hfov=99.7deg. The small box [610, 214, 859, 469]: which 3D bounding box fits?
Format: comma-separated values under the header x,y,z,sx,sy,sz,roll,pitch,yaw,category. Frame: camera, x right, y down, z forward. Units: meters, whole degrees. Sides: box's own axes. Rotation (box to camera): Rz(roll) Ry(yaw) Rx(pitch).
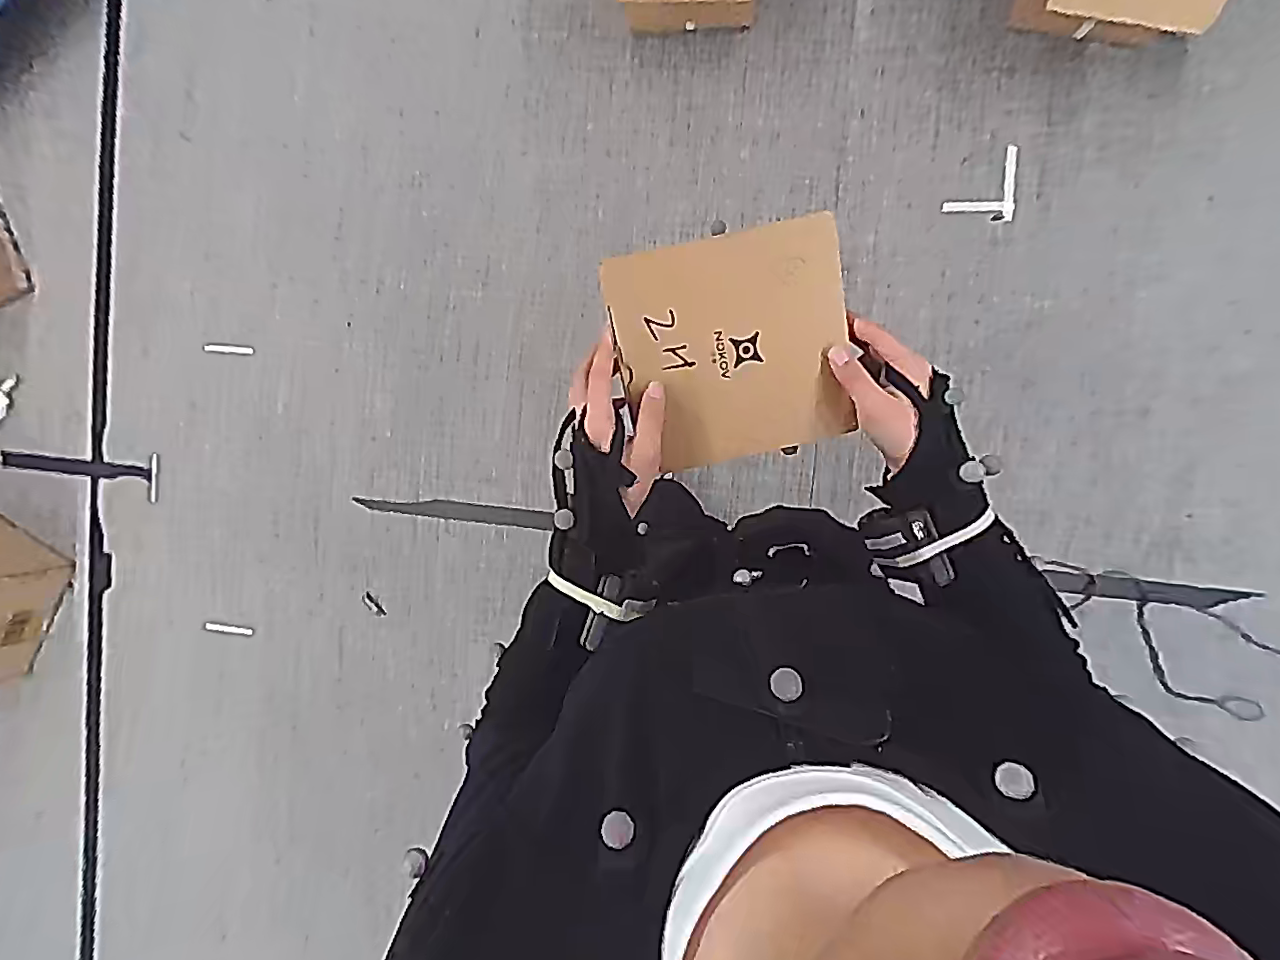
x,y,z,sx,sy,sz,roll,pitch,yaw,category
0.072,-0.123,0.487,0.179,0.176,0.168,-12,105,1,small box
